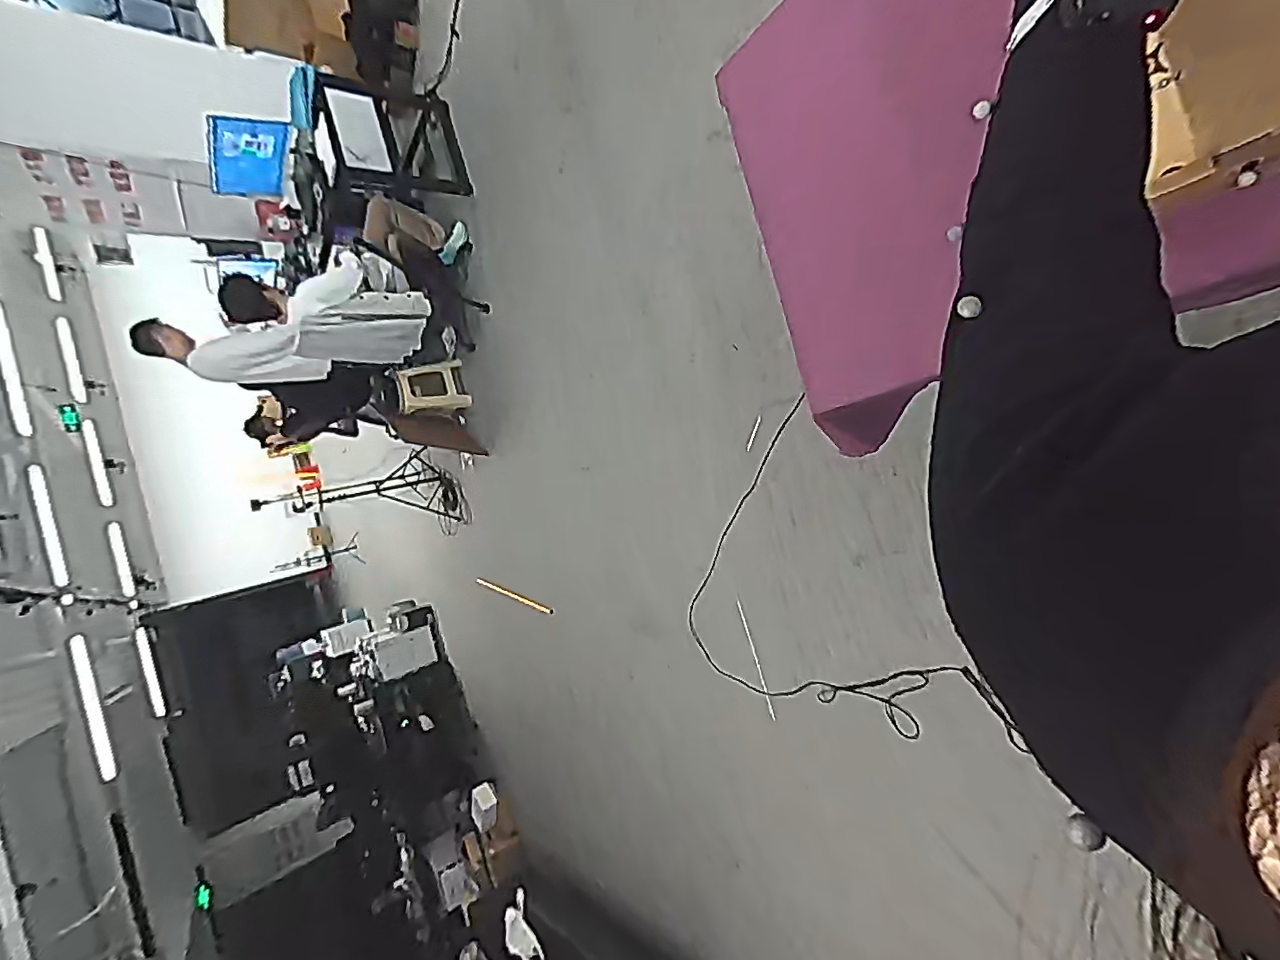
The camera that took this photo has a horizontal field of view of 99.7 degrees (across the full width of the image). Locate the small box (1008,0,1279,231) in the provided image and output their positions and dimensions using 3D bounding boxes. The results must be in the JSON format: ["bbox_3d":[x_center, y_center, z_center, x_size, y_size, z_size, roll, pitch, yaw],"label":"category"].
[{"bbox_3d":[0.469,-0.344,0.486,0.168,0.176,0.179,-13,90,52],"label":"small box"}]
